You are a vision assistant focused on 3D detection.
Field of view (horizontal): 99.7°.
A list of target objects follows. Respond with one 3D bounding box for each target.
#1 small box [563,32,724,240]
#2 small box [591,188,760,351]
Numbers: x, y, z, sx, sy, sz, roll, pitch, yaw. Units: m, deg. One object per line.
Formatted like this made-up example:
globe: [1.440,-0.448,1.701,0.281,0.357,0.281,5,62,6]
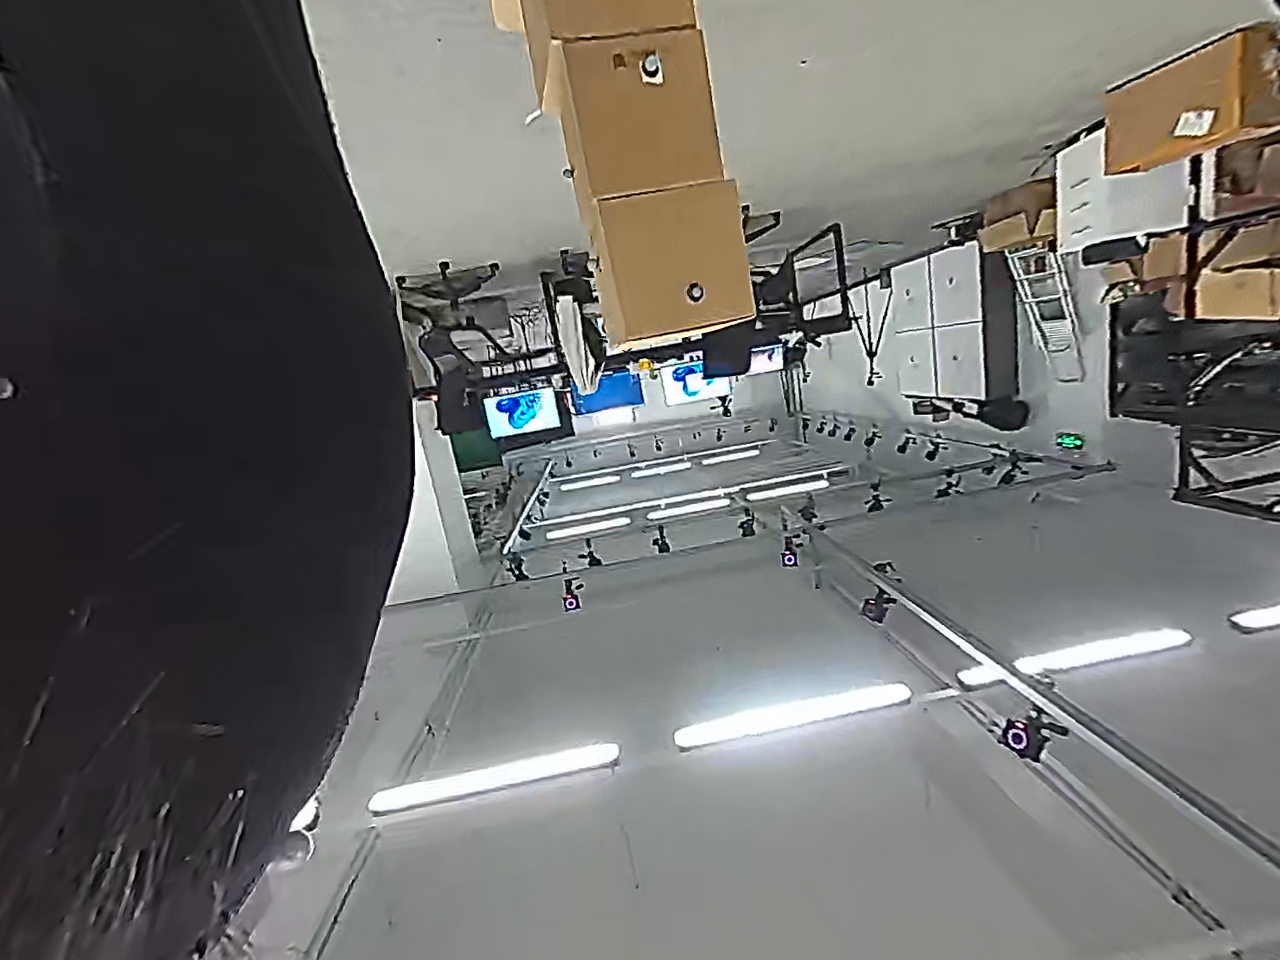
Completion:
small box: [-0.003,-0.437,0.709,0.168,0.176,0.179,-13,-170,-6]
small box: [0.041,-0.281,0.740,0.179,0.176,0.168,-13,-169,-8]
